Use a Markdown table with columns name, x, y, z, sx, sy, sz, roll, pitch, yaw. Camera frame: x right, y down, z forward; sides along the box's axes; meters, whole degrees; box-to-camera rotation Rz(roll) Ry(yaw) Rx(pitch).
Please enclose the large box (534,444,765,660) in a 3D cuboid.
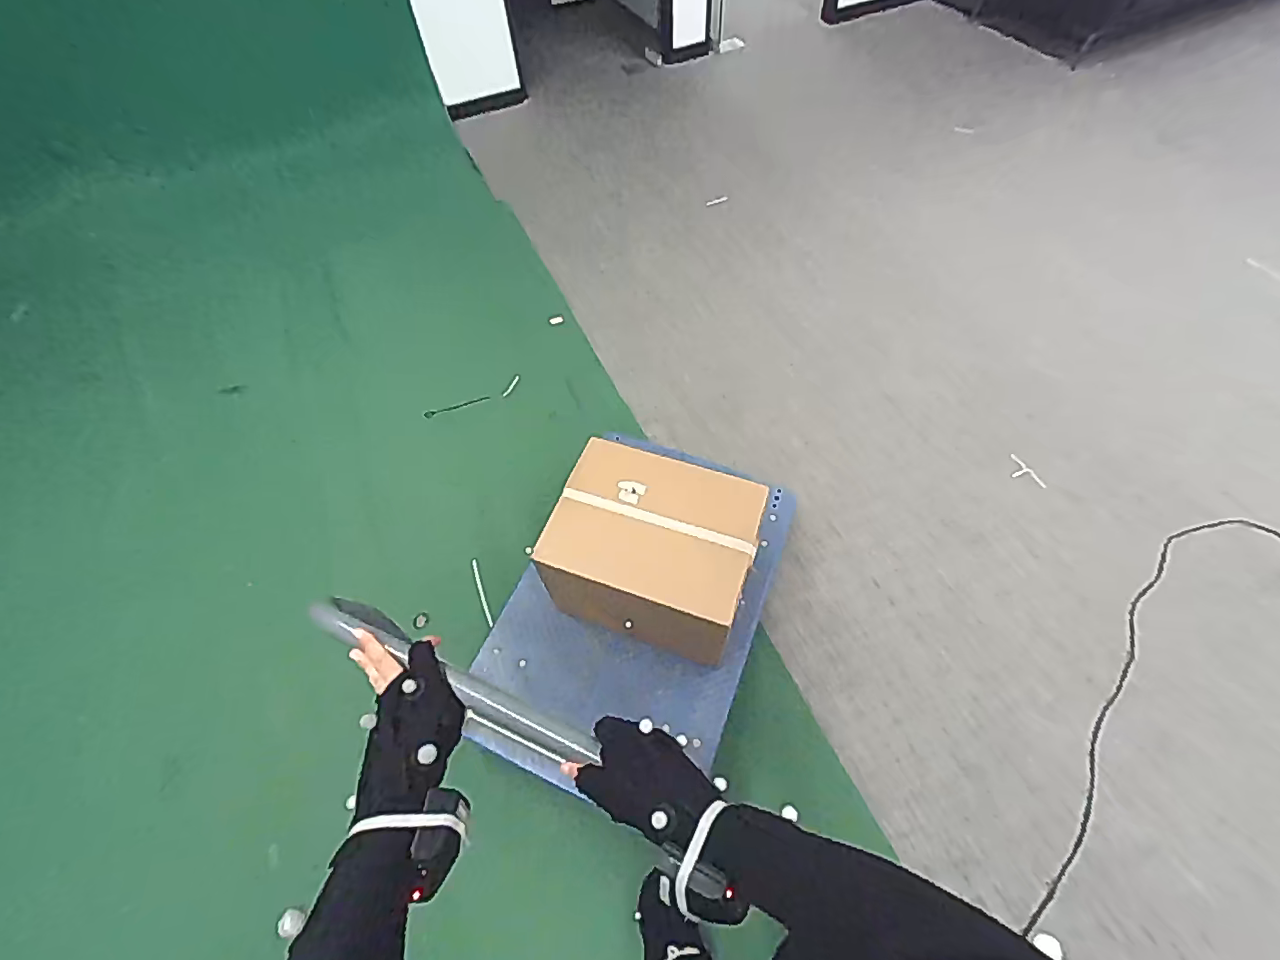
| name | x | y | z | sx | sy | sz | roll | pitch | yaw |
| --- | --- | --- | --- | --- | --- | --- | --- | --- | --- |
| large box | 0.036 | 0.168 | 1.221 | 0.408 | 0.320 | 0.320 | 16 | 60 | 13 |
